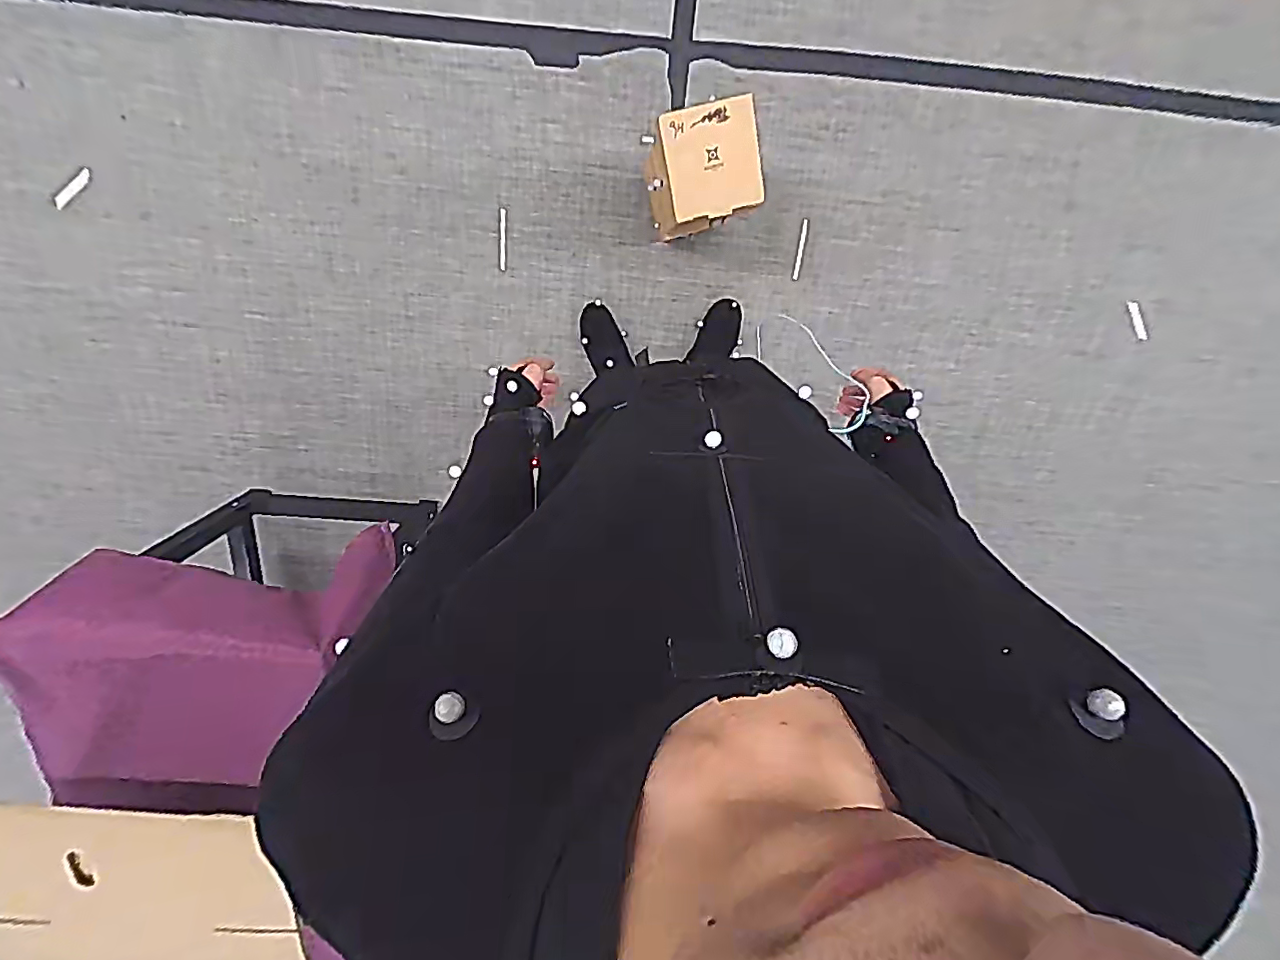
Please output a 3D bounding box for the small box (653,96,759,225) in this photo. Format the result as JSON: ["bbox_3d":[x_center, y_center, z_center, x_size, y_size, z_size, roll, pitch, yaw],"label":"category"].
[{"bbox_3d":[0.121,-0.596,1.034,0.168,0.176,0.179,-12,112,2],"label":"small box"}]
